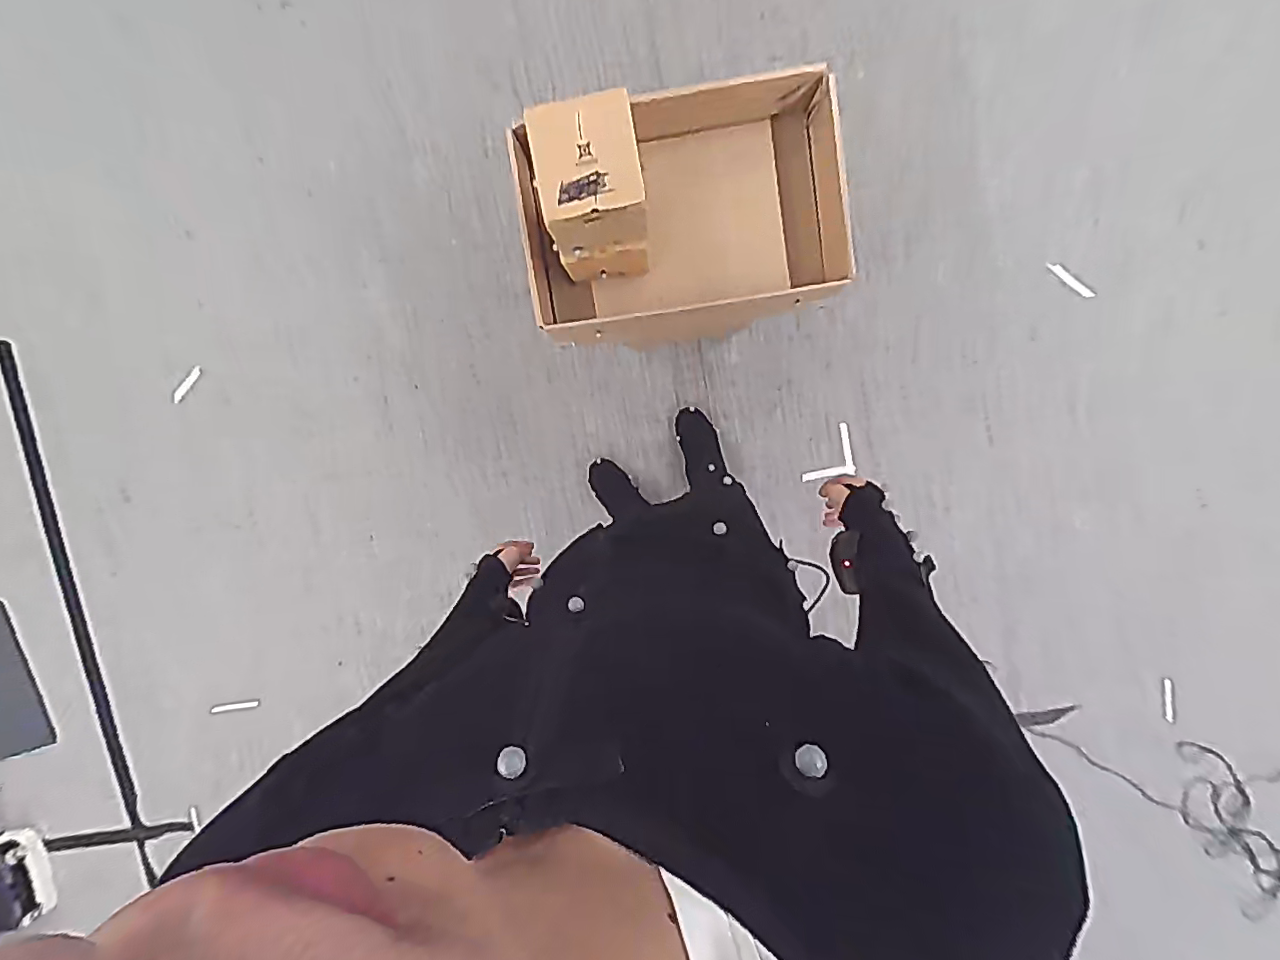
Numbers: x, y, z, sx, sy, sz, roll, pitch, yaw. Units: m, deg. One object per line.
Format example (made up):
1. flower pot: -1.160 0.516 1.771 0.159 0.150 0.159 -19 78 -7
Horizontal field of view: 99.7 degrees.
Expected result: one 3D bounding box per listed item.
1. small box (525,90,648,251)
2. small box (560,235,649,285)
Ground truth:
1. small box: -0.080 -0.503 0.911 0.168 0.176 0.179 -10 95 3
2. small box: -0.076 -0.508 1.075 0.168 0.176 0.179 -10 96 3
